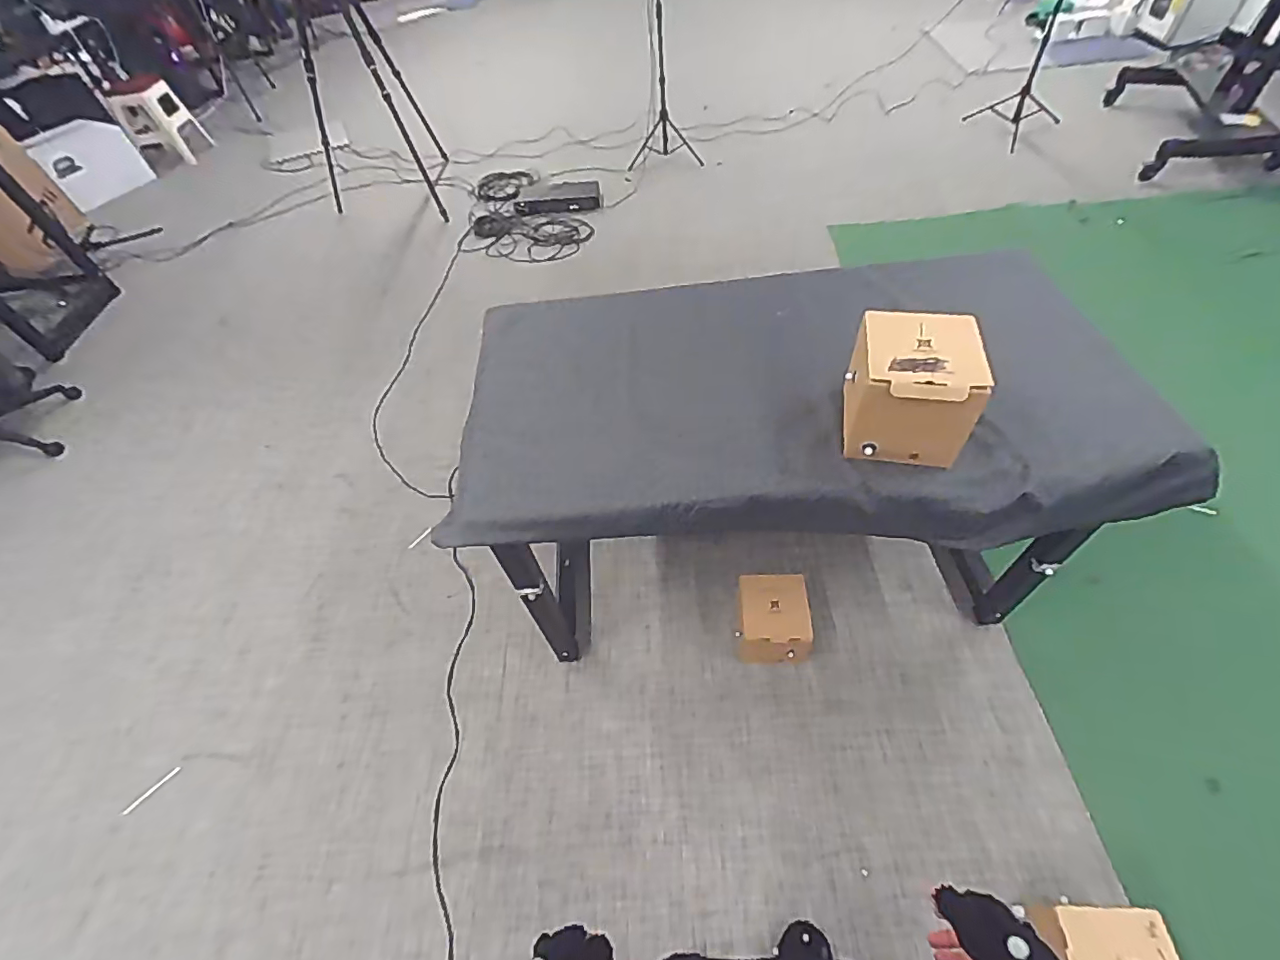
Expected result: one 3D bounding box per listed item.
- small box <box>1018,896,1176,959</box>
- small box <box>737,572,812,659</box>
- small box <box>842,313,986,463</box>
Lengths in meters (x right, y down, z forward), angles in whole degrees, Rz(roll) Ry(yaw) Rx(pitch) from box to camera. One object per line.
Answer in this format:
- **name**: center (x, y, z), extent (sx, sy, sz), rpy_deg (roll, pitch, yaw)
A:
- **small box**: center (0.825, 0.863, 0.978), extent (0.179, 0.176, 0.168), rpy_deg (-2, 53, 6)
- **small box**: center (0.346, 0.360, 1.420), extent (0.168, 0.176, 0.179), rpy_deg (-2, 51, 5)
- **small box**: center (0.429, -0.146, 0.875), extent (0.168, 0.176, 0.179), rpy_deg (7, 53, 12)
